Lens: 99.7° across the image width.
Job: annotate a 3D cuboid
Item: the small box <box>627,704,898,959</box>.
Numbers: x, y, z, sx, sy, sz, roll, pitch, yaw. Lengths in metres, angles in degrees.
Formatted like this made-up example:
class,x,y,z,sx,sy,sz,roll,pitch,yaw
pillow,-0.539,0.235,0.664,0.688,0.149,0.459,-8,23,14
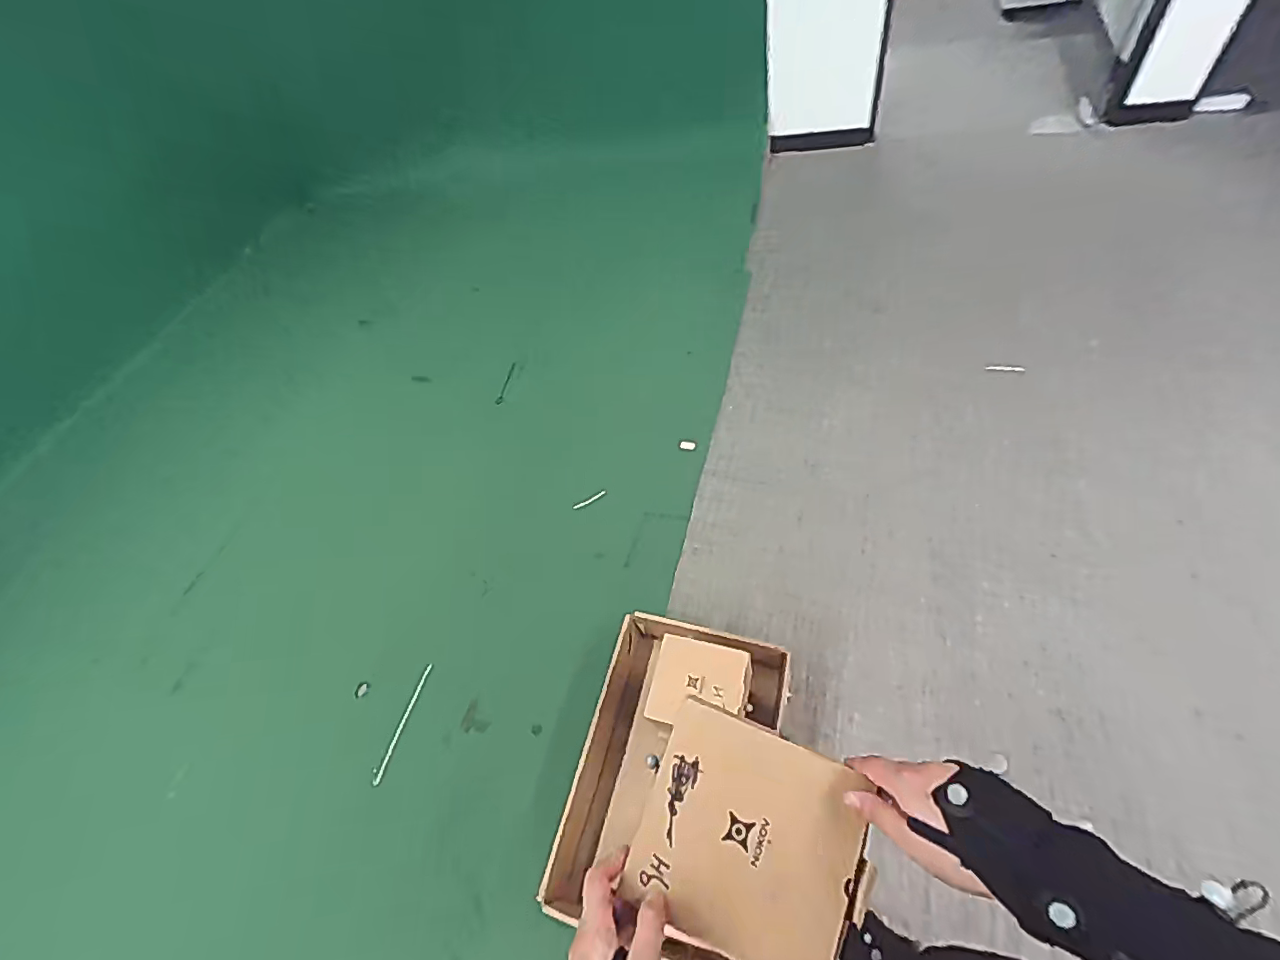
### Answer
class,x,y,z,sx,sy,sz,roll,pitch,yaw
small box,0.106,0.323,0.507,0.179,0.176,0.168,20,71,13

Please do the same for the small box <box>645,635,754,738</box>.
class,x,y,z,sx,sy,sz,roll,pitch,yaw
small box,0.127,0.433,1.088,0.179,0.176,0.168,9,60,18
